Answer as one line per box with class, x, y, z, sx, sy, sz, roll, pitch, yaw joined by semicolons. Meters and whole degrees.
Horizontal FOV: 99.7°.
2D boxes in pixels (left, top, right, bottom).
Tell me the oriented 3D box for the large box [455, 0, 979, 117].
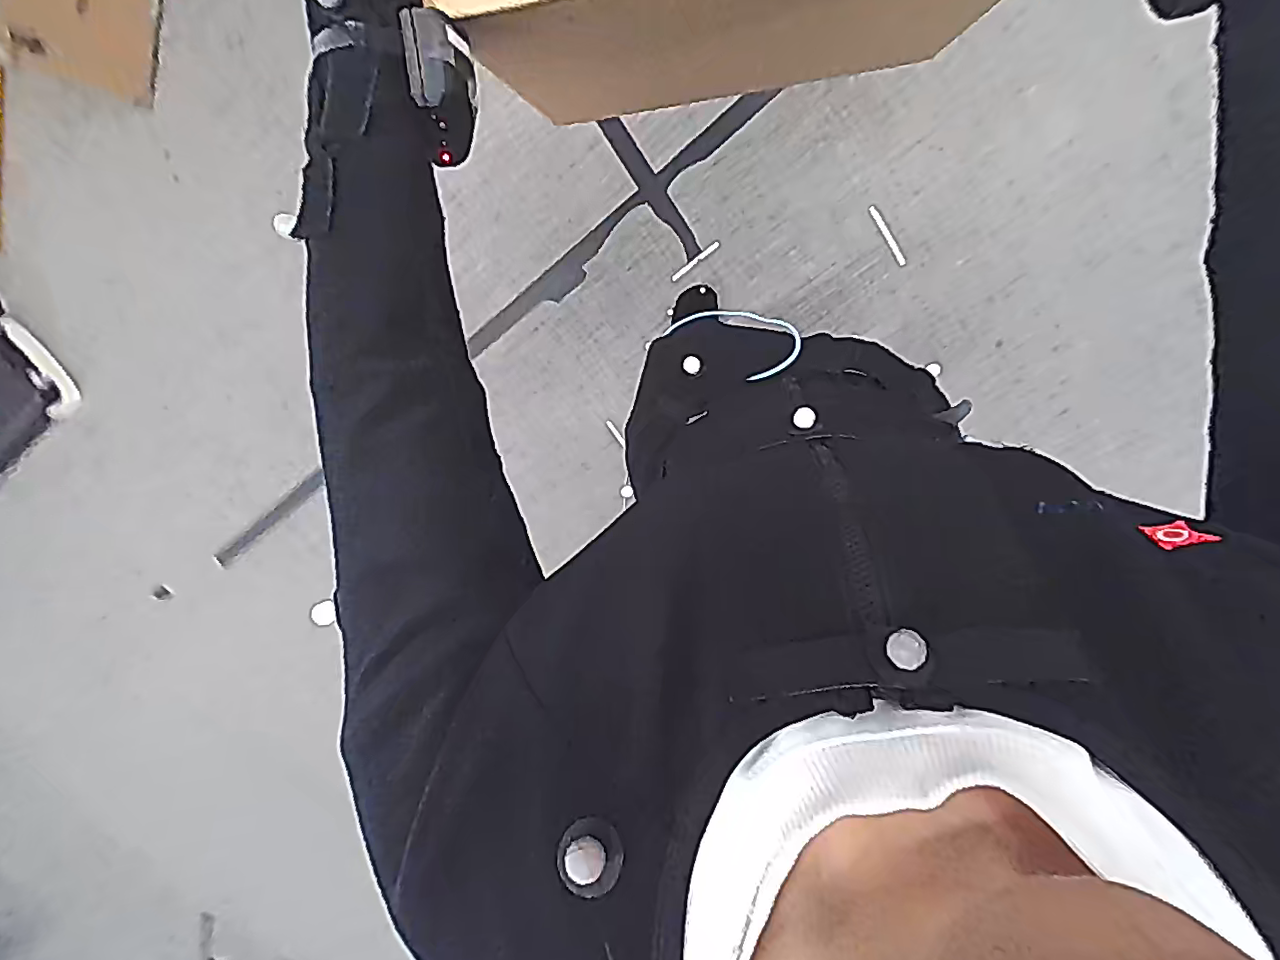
large box;0.069;-0.507;0.390;0.408;0.320;0.320;-5;113;7
